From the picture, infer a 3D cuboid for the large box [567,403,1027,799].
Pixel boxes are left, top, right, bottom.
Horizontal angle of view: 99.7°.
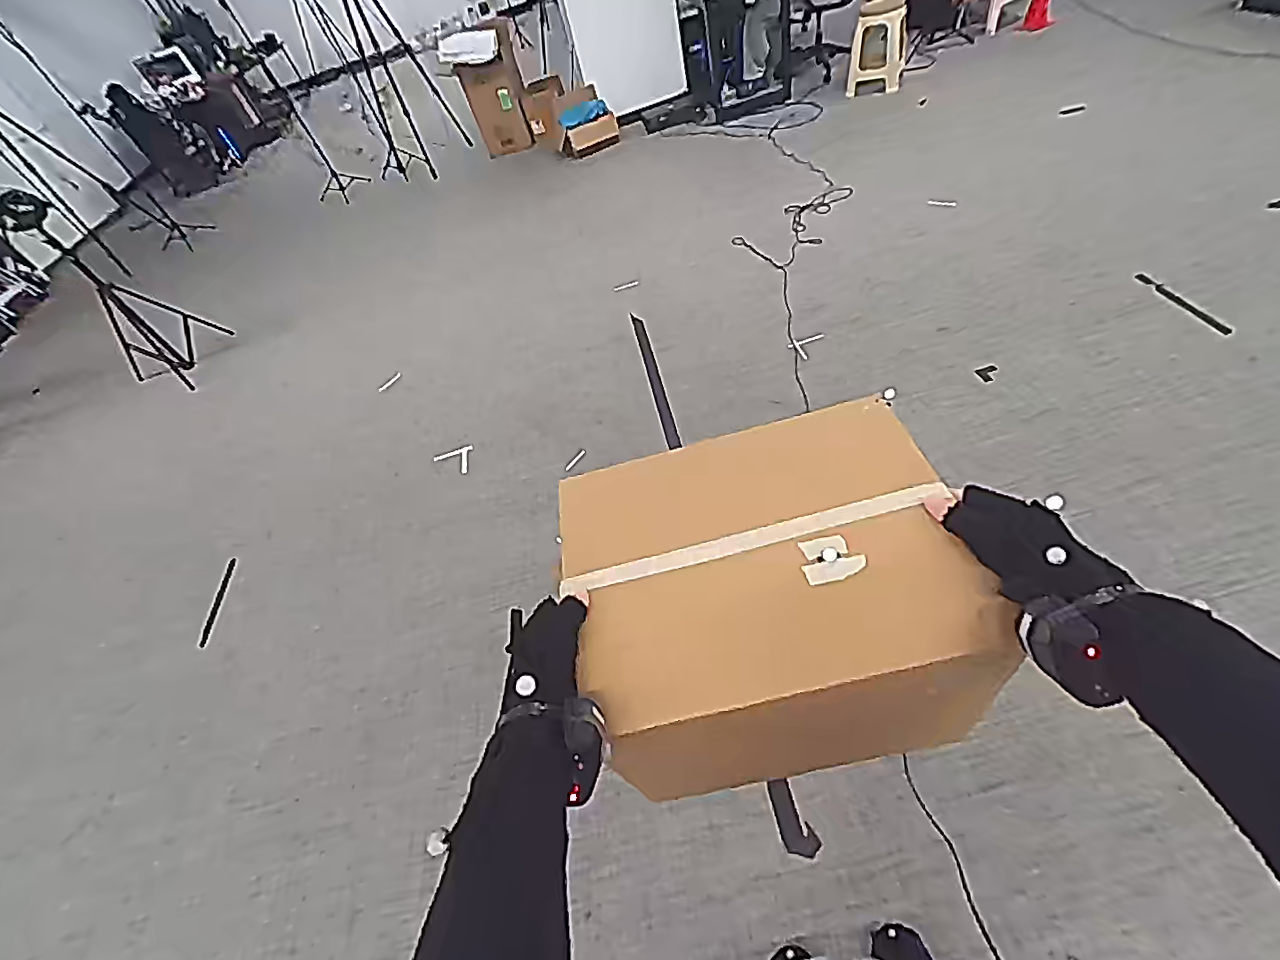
[{"bbox_3d":[0.152,0.162,0.682,0.408,0.320,0.320,-15,49,4],"label":"large box"}]
